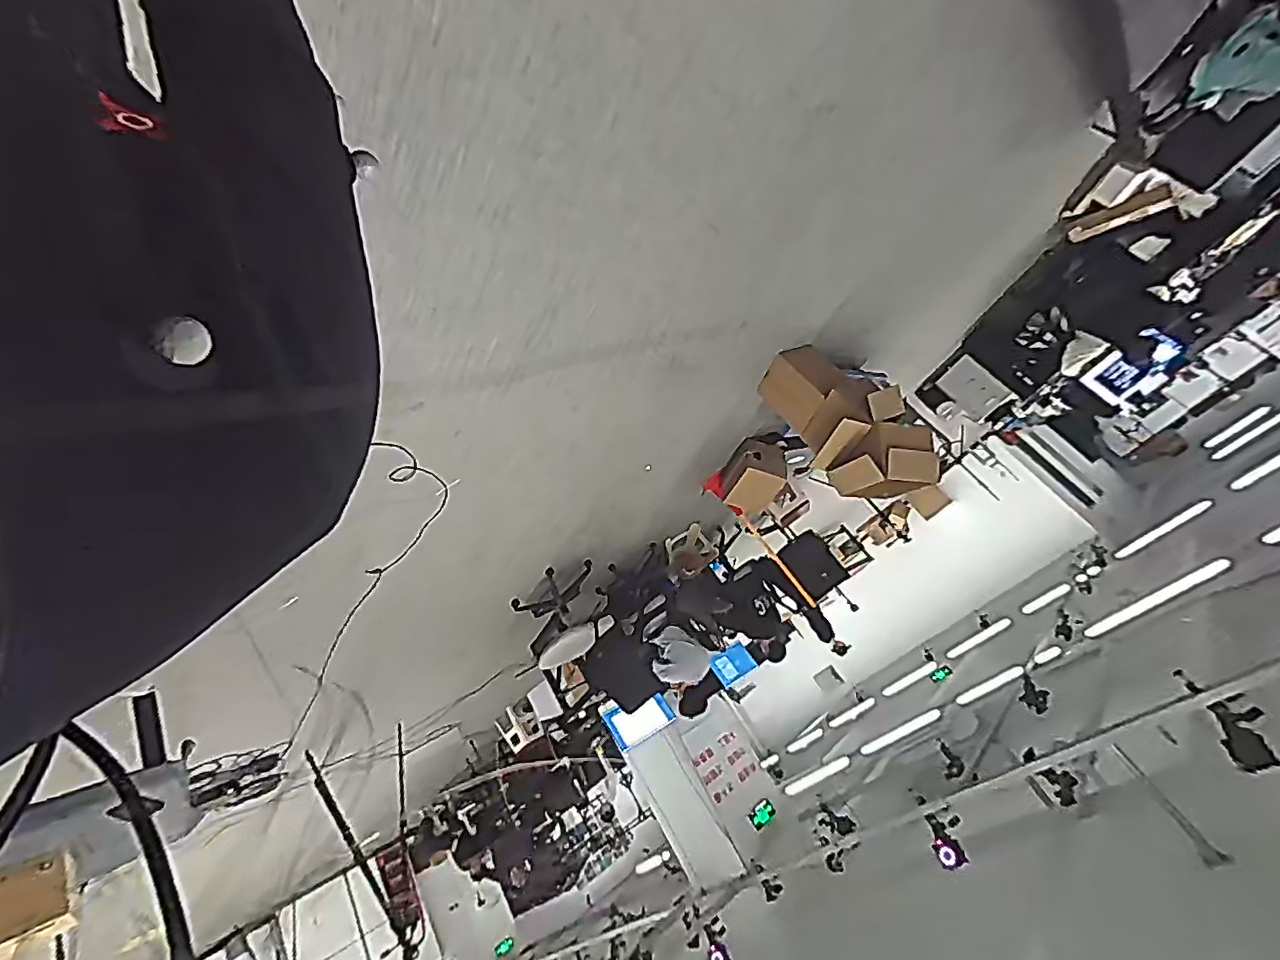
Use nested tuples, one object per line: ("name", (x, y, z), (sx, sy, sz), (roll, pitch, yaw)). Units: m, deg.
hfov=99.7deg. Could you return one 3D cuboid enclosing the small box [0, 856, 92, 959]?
("small box", (-1.583, 1.134, 1.423), (0.168, 0.176, 0.179), (-11, 146, -44))
